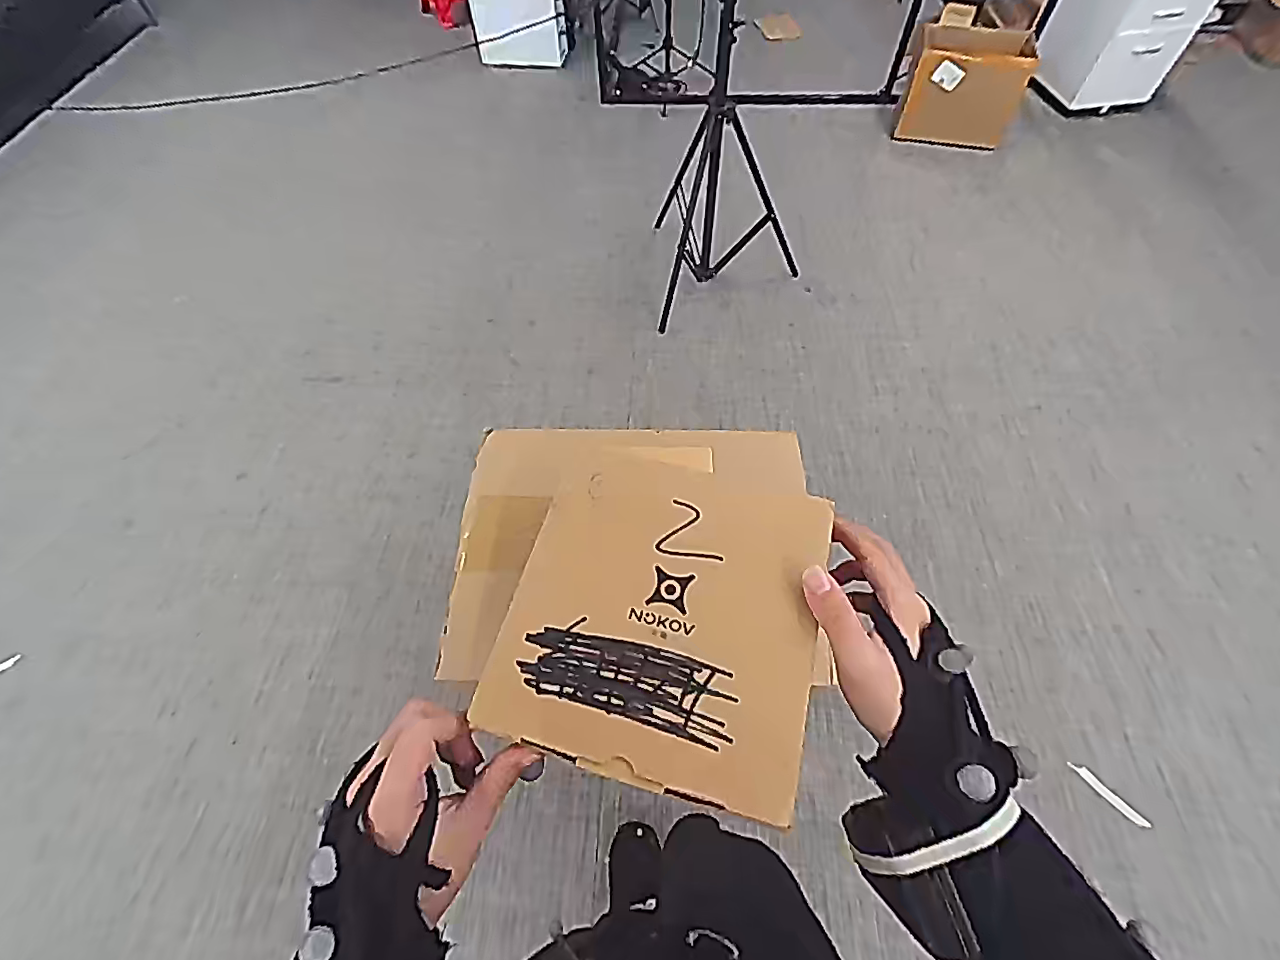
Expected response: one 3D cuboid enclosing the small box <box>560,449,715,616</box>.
[{"bbox_3d":[0.000,0.074,0.710,0.179,0.176,0.168,0,59,2],"label":"small box"}]
